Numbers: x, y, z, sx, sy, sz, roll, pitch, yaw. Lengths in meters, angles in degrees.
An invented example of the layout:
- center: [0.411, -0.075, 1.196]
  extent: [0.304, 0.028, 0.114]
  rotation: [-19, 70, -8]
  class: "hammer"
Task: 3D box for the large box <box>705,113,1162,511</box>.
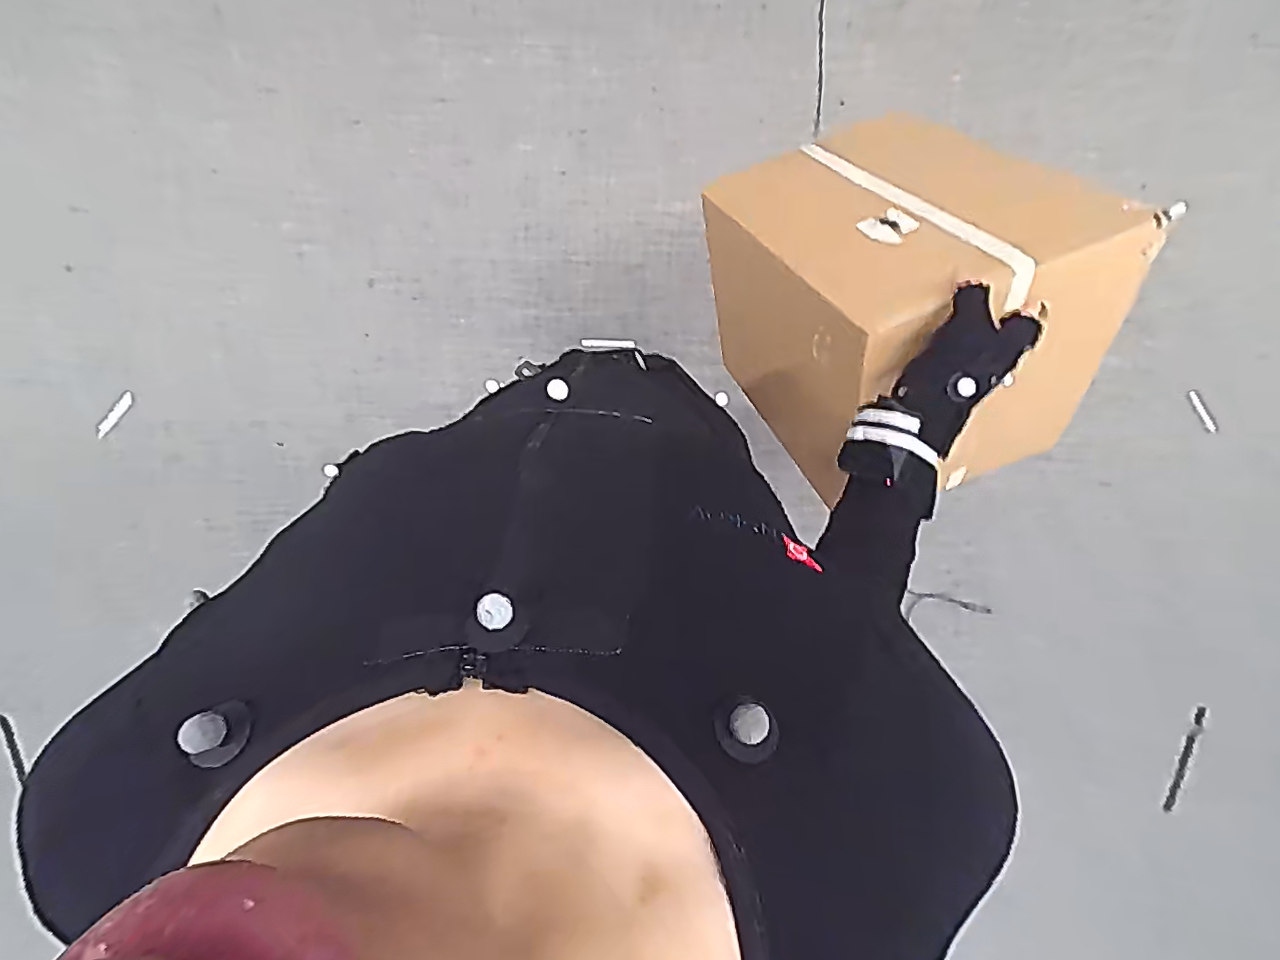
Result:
- center: [0.318, -0.236, 0.738]
  extent: [0.320, 0.408, 0.320]
  rotation: [-21, 138, -1]
  class: "large box"
